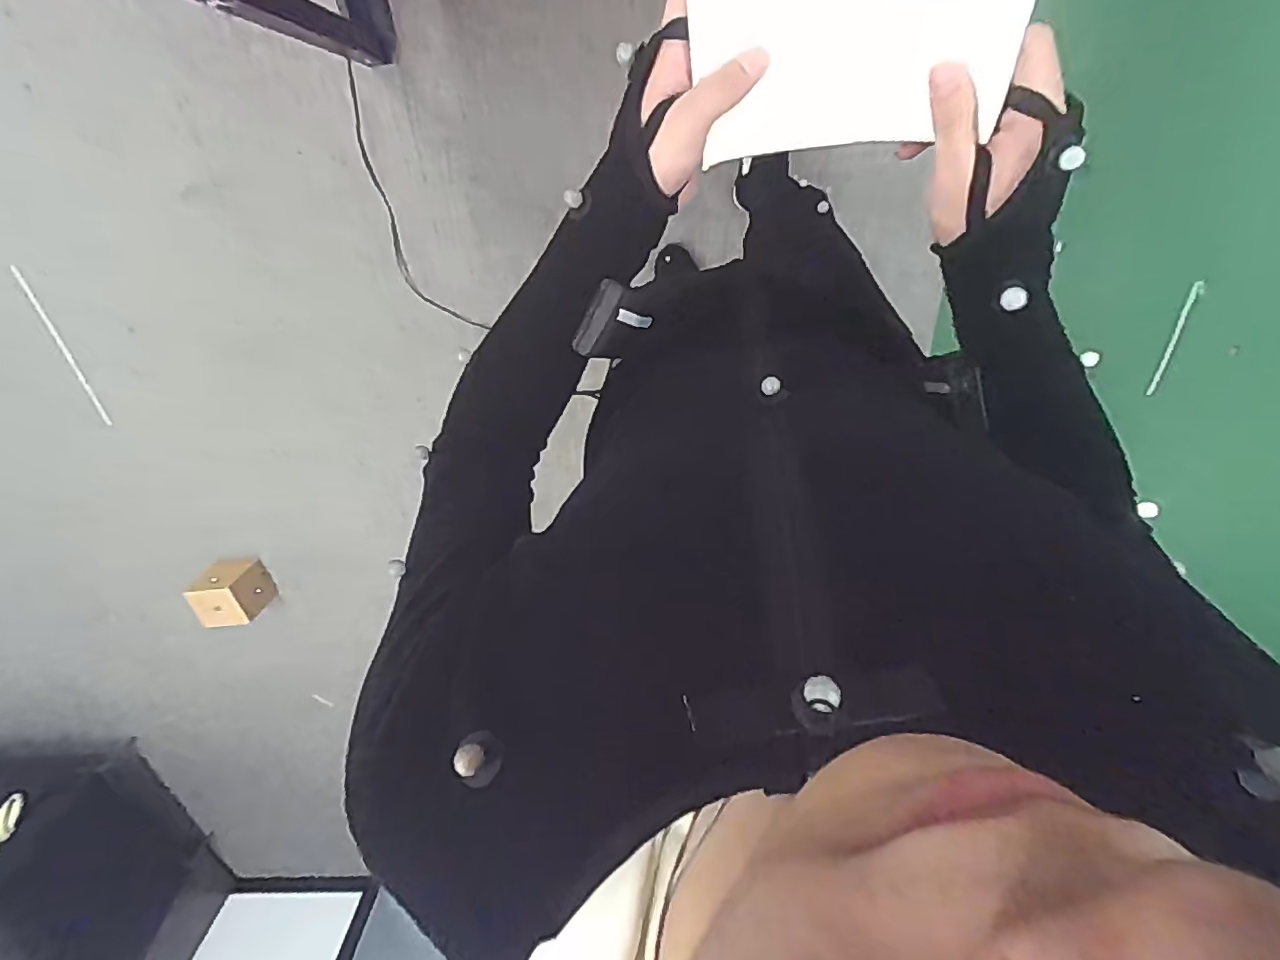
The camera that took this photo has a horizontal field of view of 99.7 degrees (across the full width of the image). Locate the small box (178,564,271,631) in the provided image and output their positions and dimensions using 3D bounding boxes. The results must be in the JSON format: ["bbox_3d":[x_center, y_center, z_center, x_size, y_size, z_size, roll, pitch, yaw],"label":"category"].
[{"bbox_3d":[-1.457,0.412,1.917,0.179,0.176,0.168,-6,118,5],"label":"small box"}]
